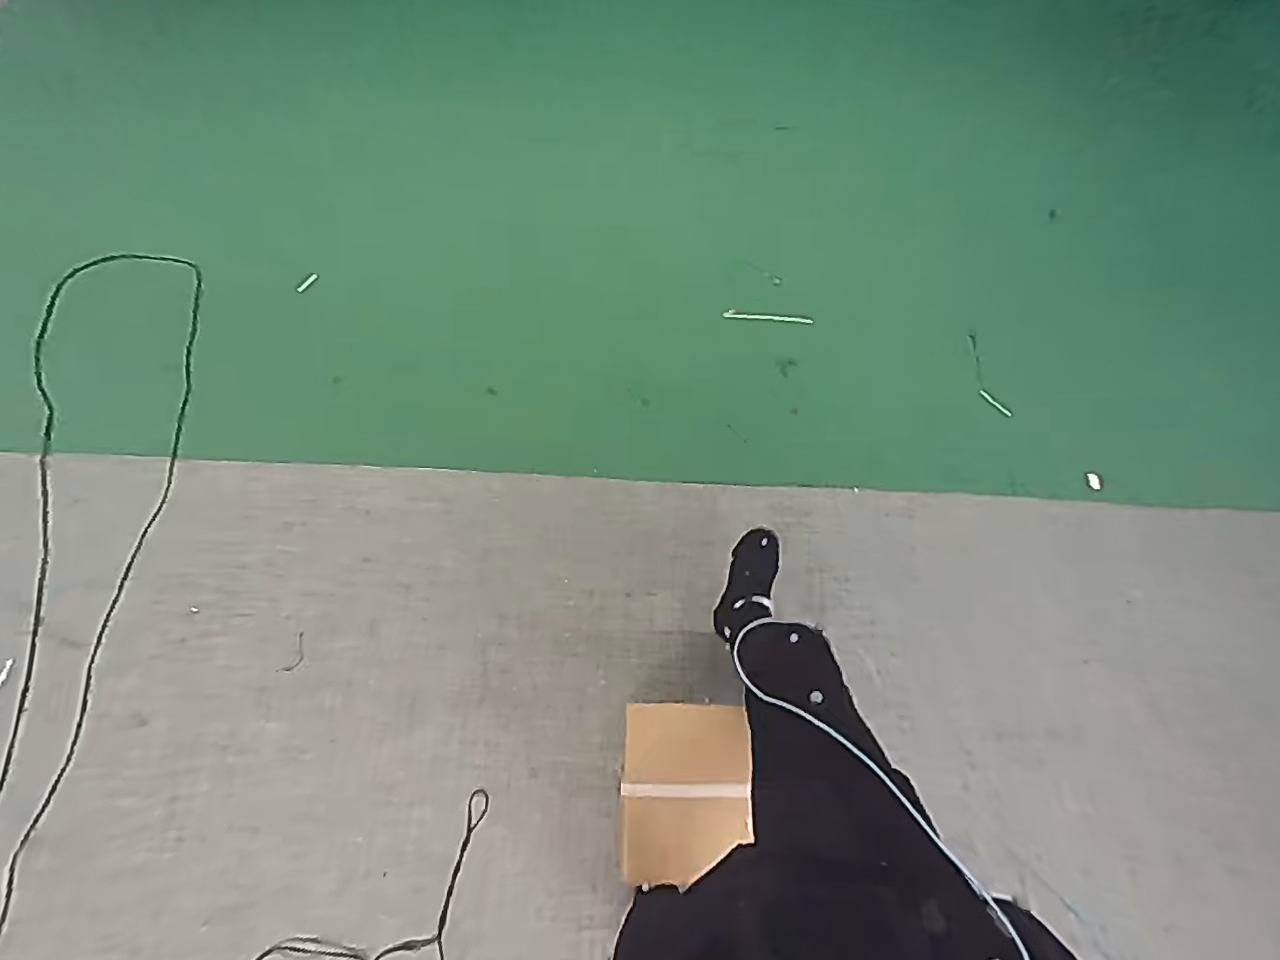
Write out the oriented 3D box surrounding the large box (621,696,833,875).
[{"bbox_3d":[0.164,0.668,1.228,0.408,0.320,0.320,1,66,-4],"label":"large box"}]
